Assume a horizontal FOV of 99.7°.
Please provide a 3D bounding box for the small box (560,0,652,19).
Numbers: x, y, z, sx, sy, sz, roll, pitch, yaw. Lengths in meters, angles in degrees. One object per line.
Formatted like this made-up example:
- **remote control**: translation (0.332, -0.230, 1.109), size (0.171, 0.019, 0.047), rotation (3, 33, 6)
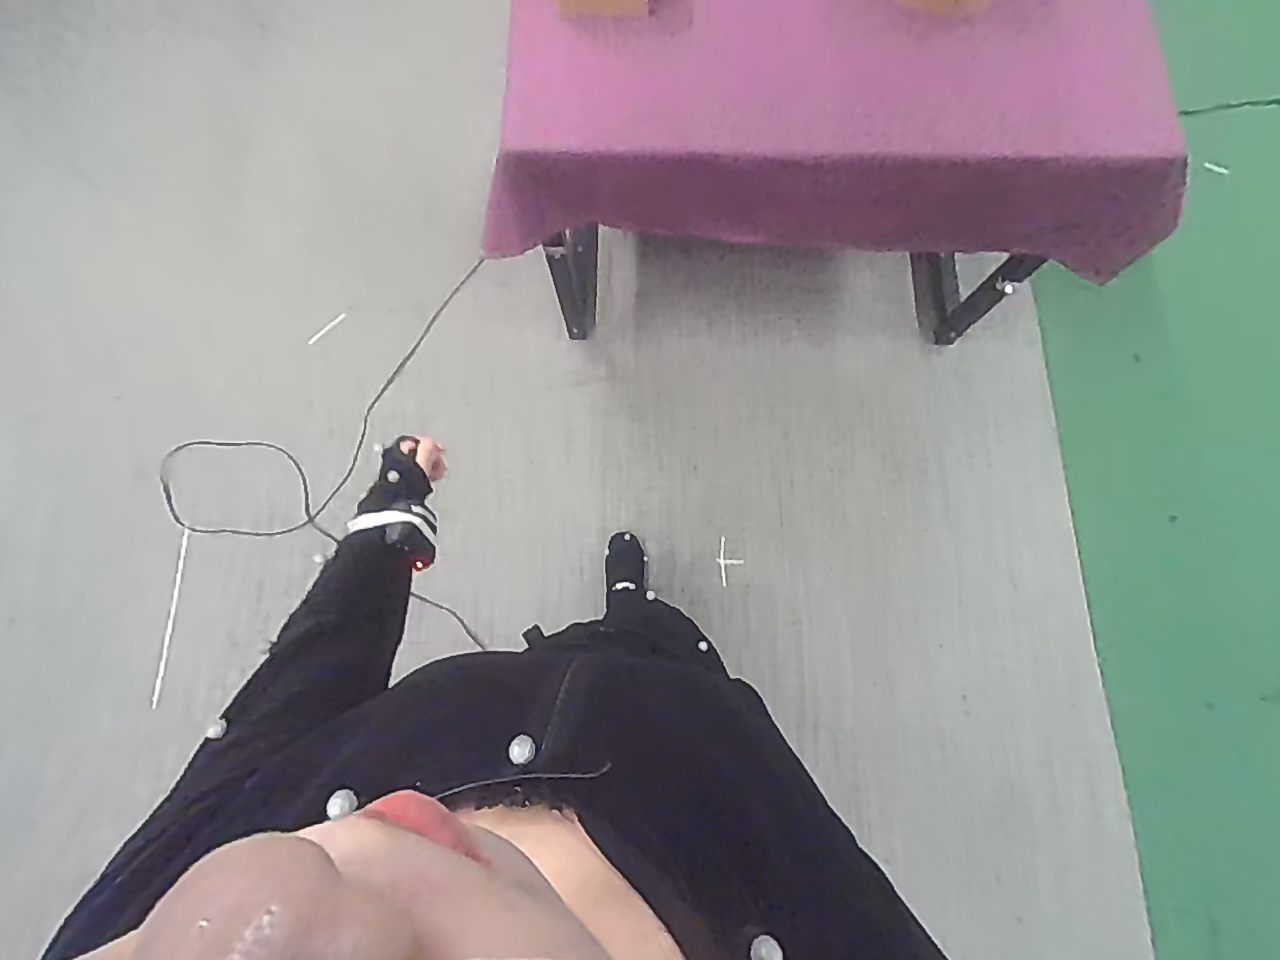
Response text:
- **small box**: translation (-0.059, -0.974, 0.969), size (0.179, 0.176, 0.168), rotation (3, 76, 1)
